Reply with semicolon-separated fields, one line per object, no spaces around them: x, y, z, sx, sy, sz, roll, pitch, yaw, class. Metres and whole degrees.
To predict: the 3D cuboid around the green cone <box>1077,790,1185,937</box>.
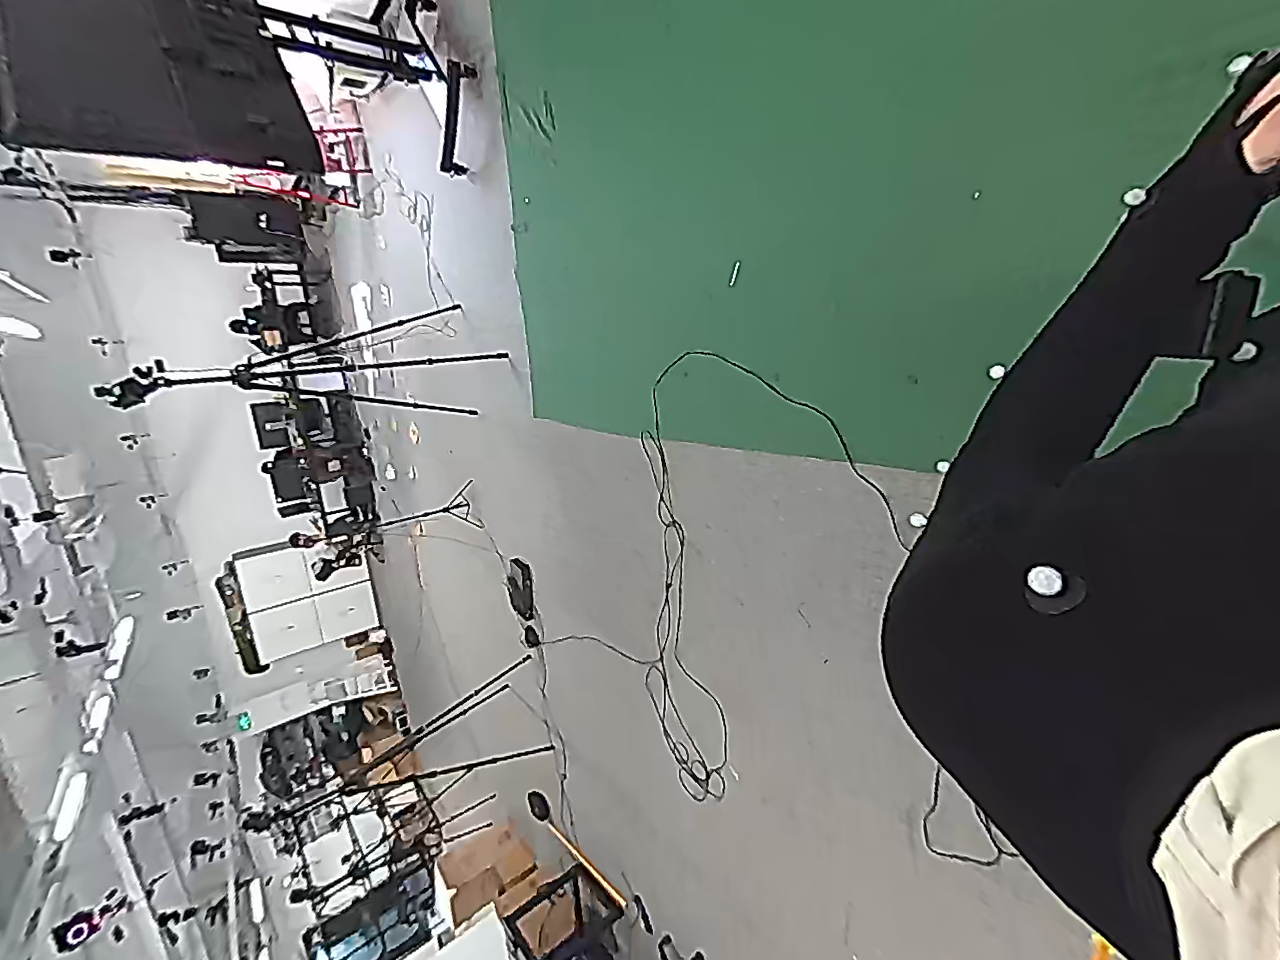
1.175;0.995;1.346;0.202;0.368;0.200;15;114;50;green cone
